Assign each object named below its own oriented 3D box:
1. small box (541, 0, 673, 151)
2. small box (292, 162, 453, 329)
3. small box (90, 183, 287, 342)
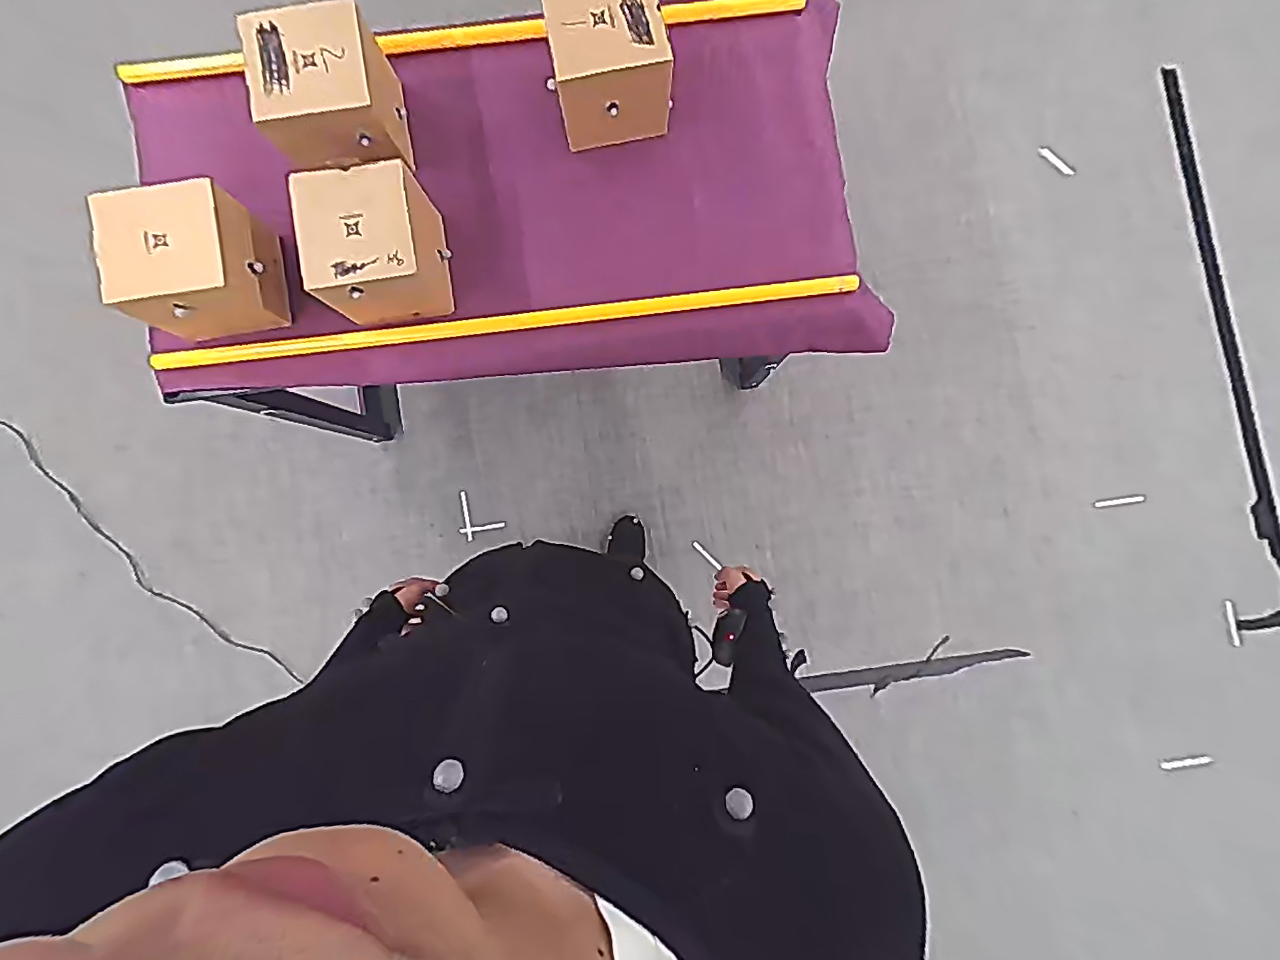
[{"bbox_3d":[-0.051,-0.670,0.871,0.179,0.176,0.168,-11,88,0],"label":"small box"},{"bbox_3d":[-0.411,-0.359,0.854,0.168,0.176,0.179,-8,87,0],"label":"small box"},{"bbox_3d":[-0.689,-0.331,0.851,0.179,0.176,0.168,-10,87,-2],"label":"small box"}]
